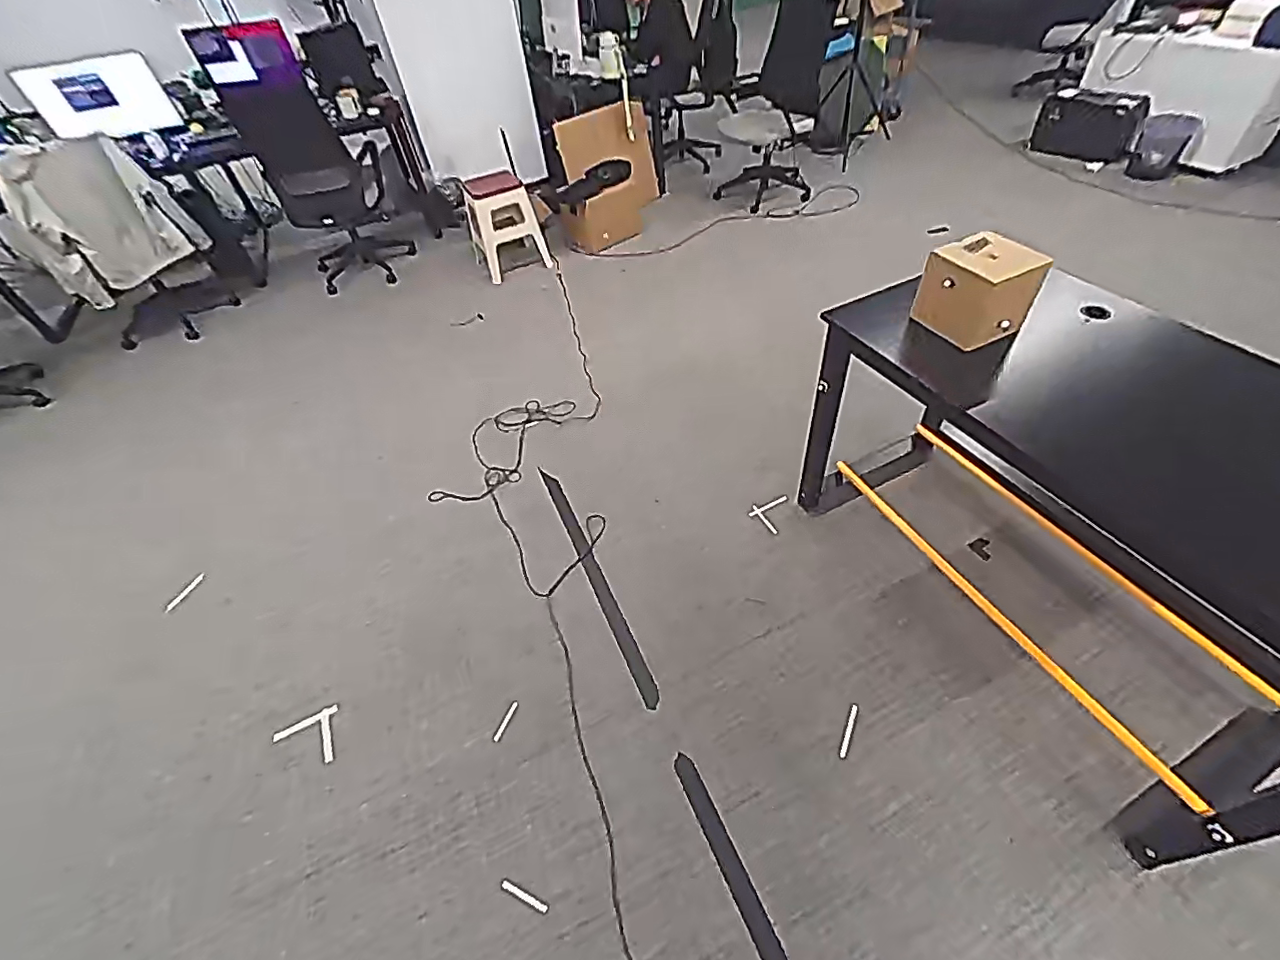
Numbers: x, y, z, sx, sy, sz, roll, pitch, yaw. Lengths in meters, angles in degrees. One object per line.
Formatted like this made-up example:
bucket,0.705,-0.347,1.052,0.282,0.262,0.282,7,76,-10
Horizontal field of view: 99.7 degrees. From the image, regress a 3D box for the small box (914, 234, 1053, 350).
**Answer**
small box,0.756,-0.421,1.214,0.168,0.176,0.179,-23,50,-13
